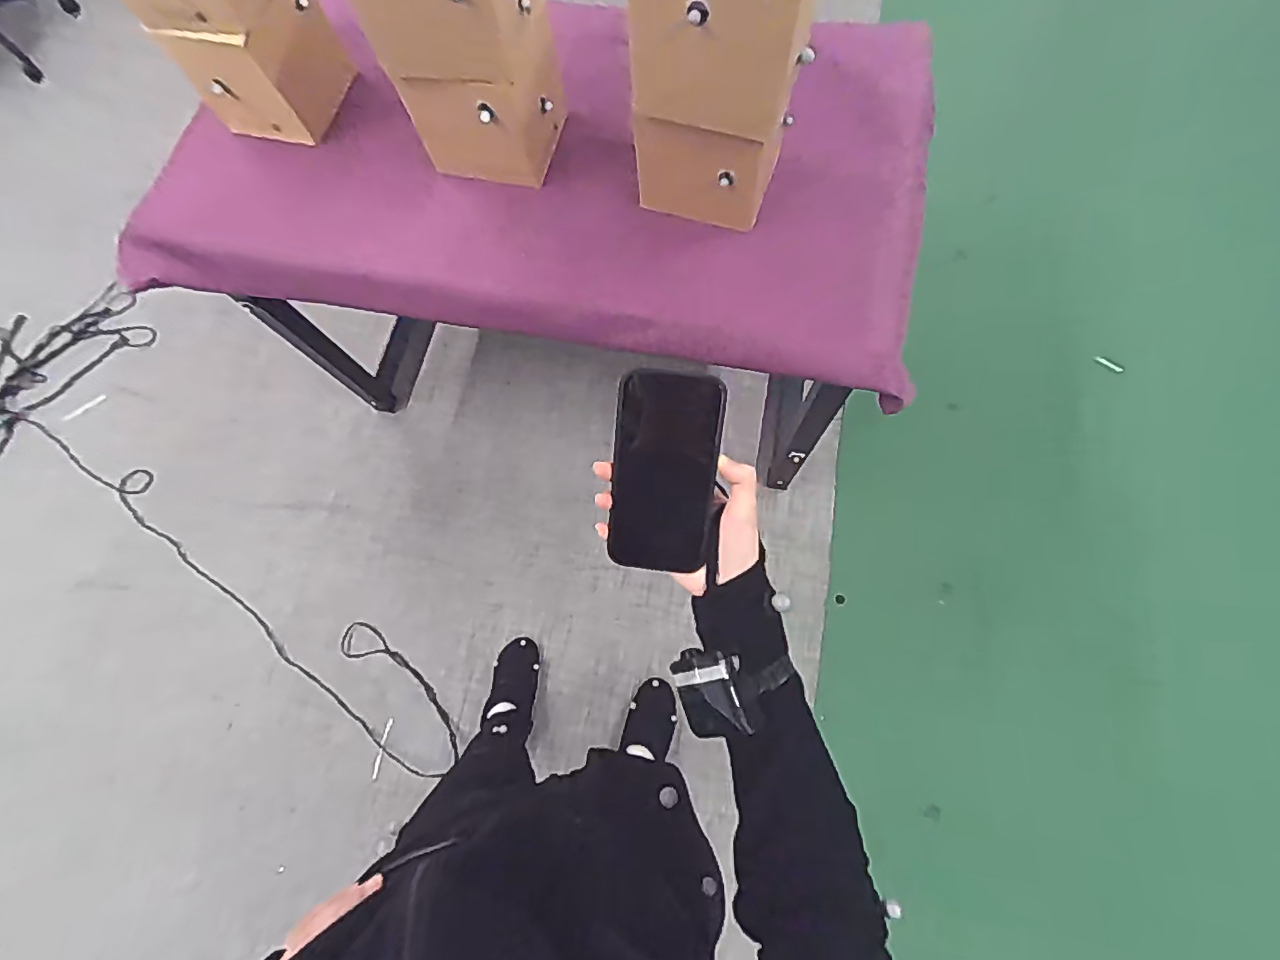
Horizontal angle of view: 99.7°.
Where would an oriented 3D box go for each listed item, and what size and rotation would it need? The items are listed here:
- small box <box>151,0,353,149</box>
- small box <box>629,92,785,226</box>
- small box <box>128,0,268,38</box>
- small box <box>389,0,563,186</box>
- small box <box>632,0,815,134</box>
[{"bbox_3d":[-0.601,-0.670,0.864,0.168,0.176,0.179,12,74,8],"label":"small box"},{"bbox_3d":[0.100,-0.489,0.756,0.179,0.176,0.168,18,74,10],"label":"small box"},{"bbox_3d":[-0.610,-0.727,0.711,0.168,0.176,0.179,8,74,6],"label":"small box"},{"bbox_3d":[-0.227,-0.571,0.804,0.179,0.176,0.168,12,73,8],"label":"small box"},{"bbox_3d":[0.093,-0.522,0.595,0.179,0.176,0.168,18,74,9],"label":"small box"}]
